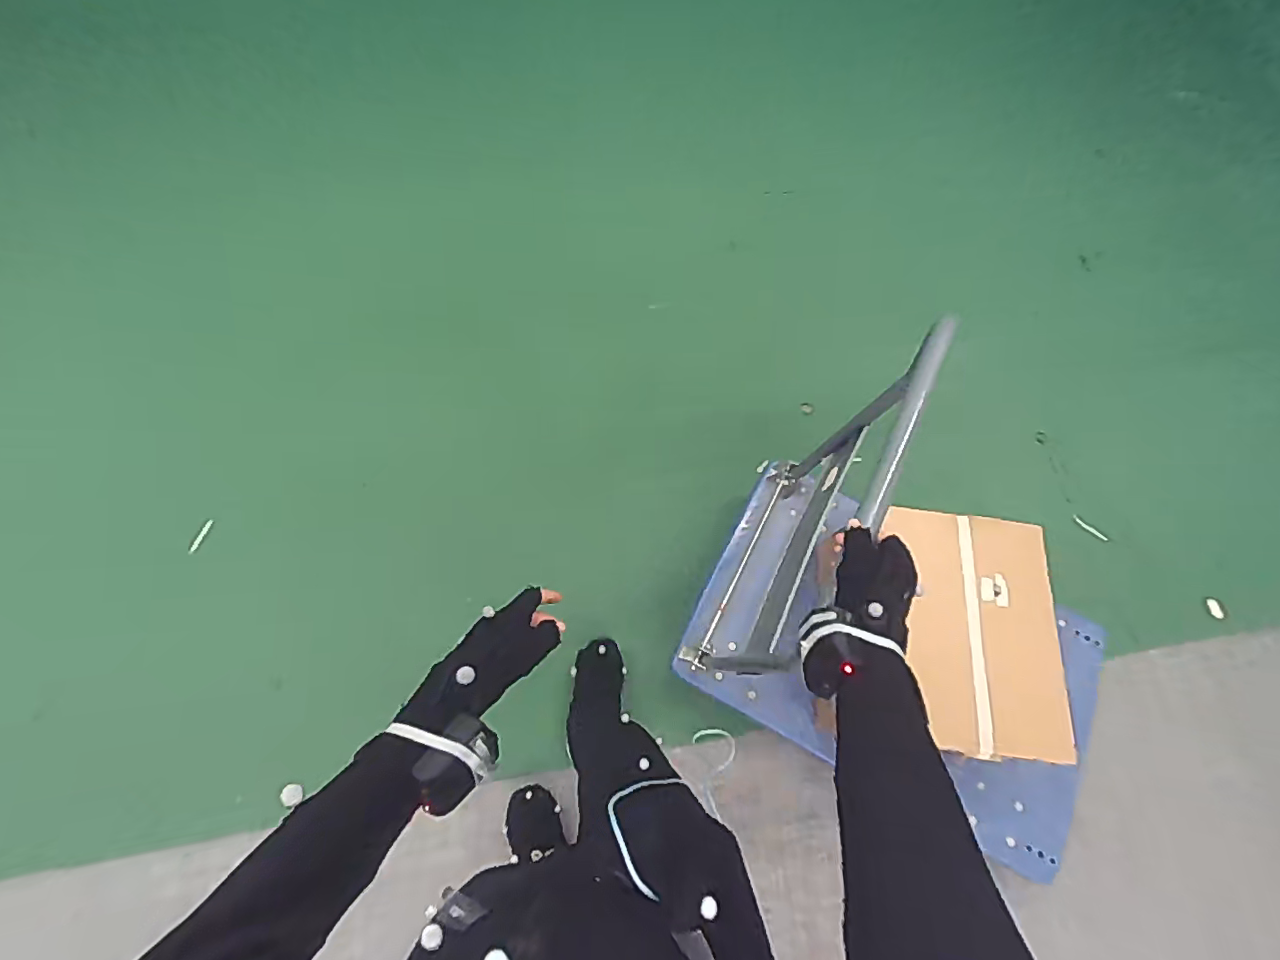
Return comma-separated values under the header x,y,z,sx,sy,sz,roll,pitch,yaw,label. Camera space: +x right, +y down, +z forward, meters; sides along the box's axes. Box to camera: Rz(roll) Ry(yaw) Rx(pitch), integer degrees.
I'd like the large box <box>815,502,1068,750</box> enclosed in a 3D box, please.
x,y,z,sx,sy,sz,roll,pitch,yaw,label
0.555,0.297,1.084,0.320,0.320,0.408,8,68,-1,large box
